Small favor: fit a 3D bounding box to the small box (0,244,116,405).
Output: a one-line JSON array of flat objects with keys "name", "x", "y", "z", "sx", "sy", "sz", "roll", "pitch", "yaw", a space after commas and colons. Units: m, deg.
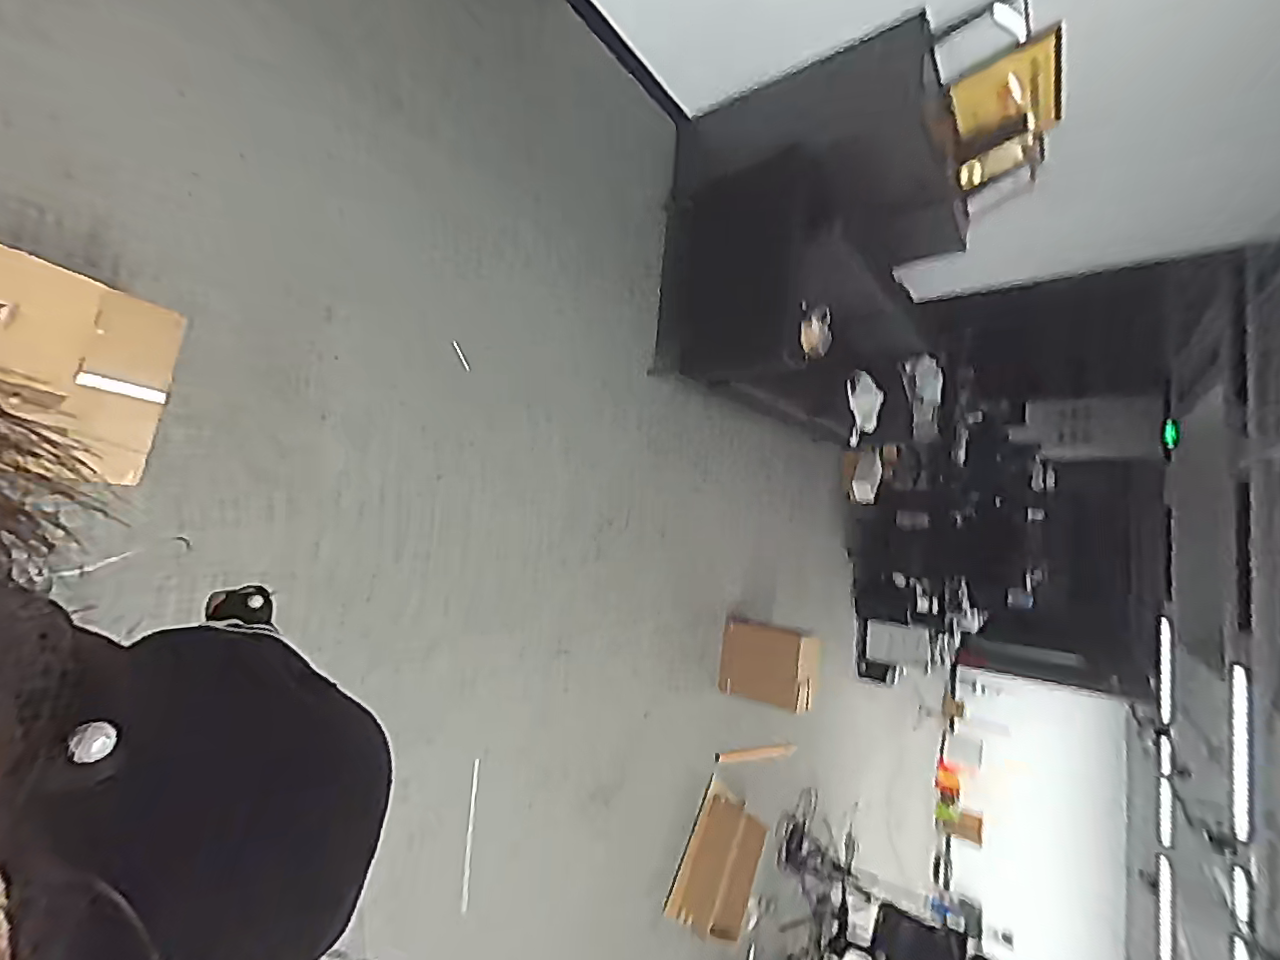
[{"name": "small box", "x": -0.853, "y": -0.206, "z": 0.715, "sx": 0.179, "sy": 0.176, "sz": 0.168, "roll": 24, "pitch": 69, "yaw": -50}]
